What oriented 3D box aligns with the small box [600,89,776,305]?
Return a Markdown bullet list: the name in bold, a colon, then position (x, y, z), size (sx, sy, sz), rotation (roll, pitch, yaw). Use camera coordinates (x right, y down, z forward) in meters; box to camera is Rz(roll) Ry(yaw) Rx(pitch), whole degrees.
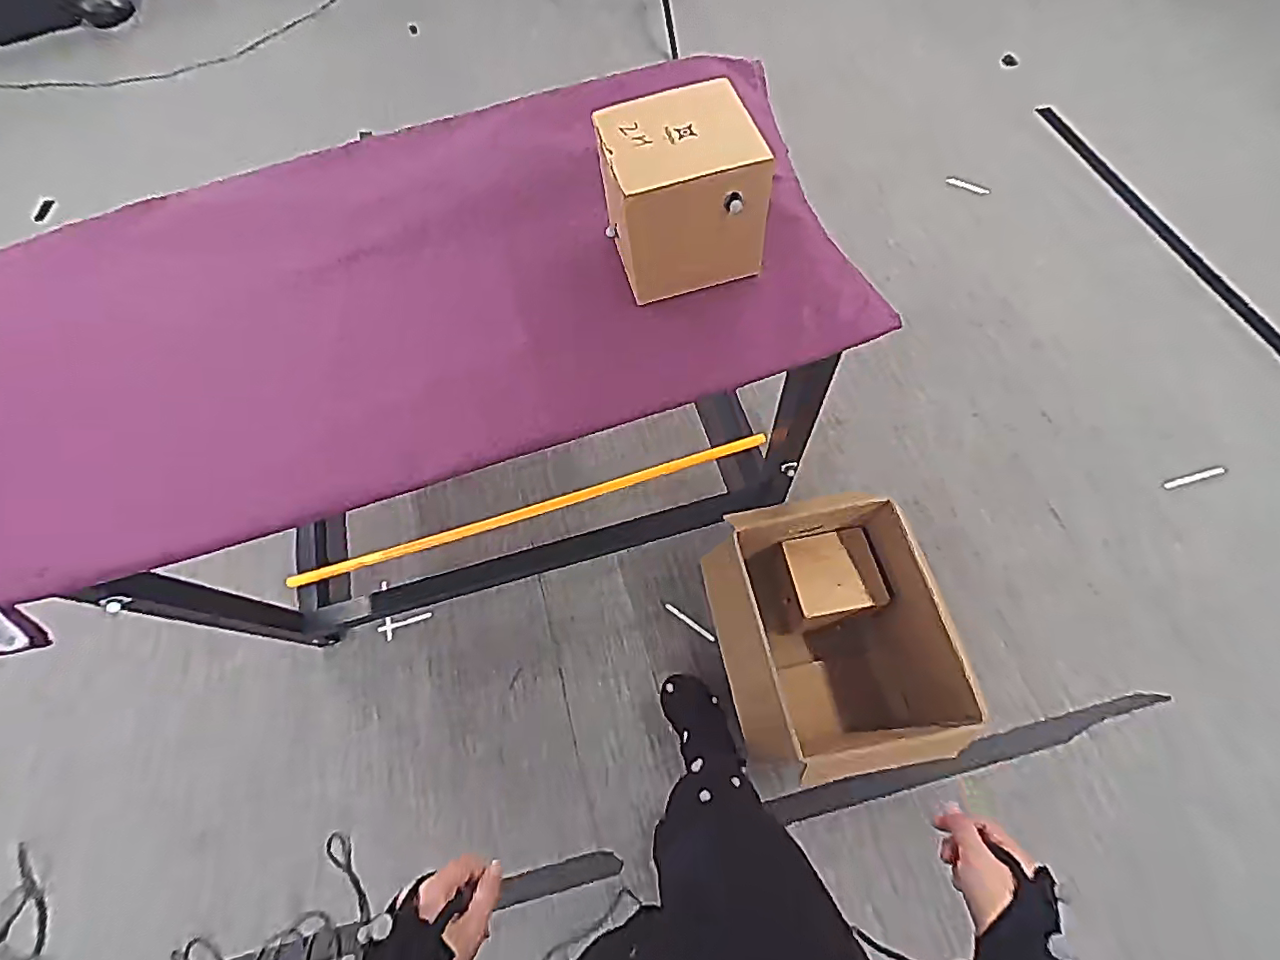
- **small box**: position (0.057, -0.360, 0.706), size (0.179, 0.176, 0.168), rotation (-15, 63, -2)
